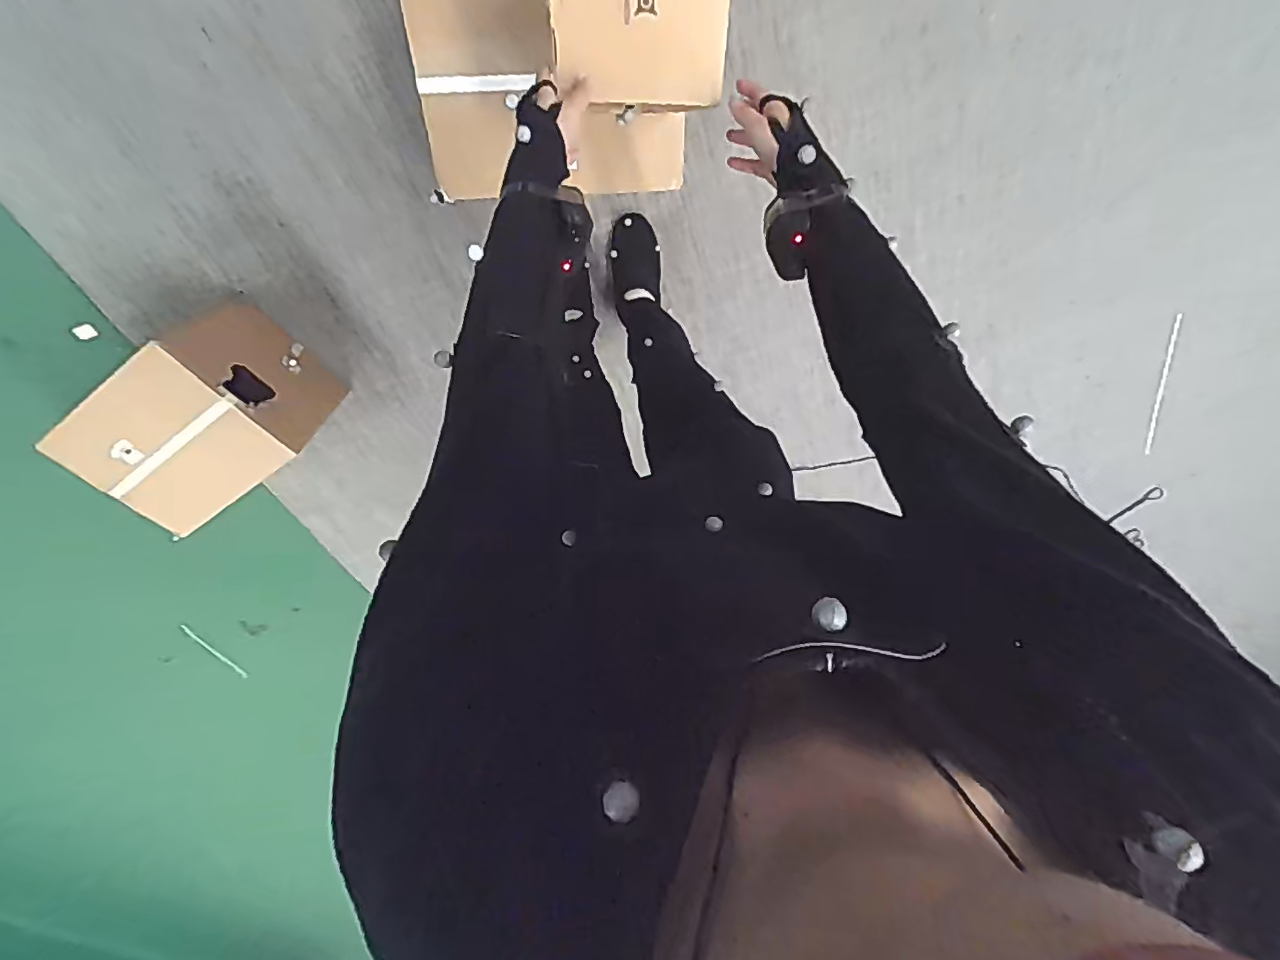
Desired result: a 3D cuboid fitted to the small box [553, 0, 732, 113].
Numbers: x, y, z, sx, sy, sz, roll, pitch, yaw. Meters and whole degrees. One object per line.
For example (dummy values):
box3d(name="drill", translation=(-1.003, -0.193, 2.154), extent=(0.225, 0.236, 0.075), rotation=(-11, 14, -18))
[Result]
box3d(name="small box", translation=(-0.003, -0.503, 0.587), extent=(0.179, 0.176, 0.168), rotation=(-1, 123, -4))

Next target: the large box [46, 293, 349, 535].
box3d(name="large box", translation=(-0.972, -0.152, 1.240), extent=(0.408, 0.320, 0.320), rotation=(-29, 121, 16))
